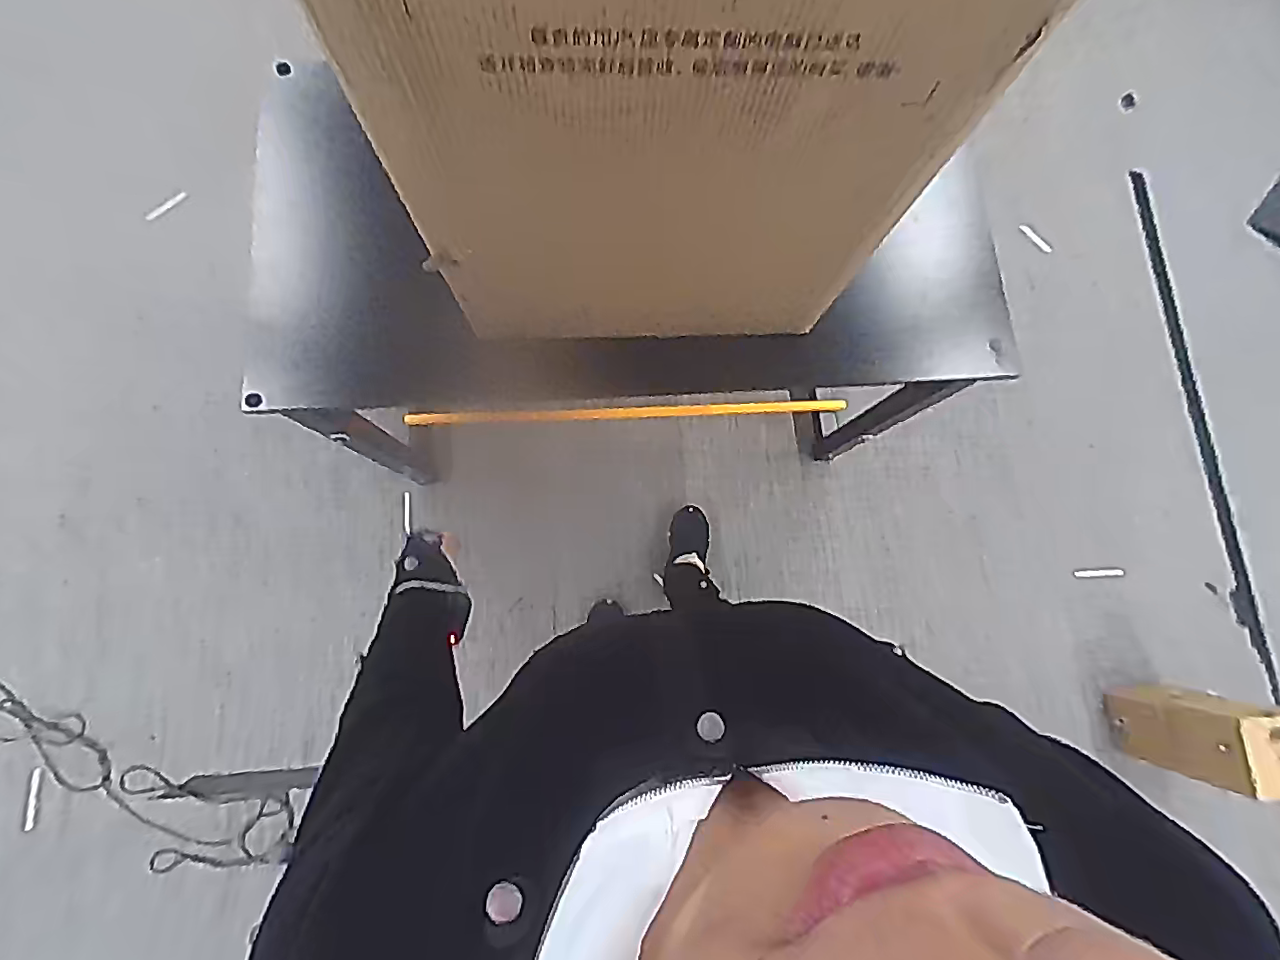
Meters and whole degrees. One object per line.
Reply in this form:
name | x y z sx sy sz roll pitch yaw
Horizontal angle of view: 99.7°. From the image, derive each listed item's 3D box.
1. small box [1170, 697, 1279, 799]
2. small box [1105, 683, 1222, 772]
small box | 1.421 0.622 1.279 0.168 0.176 0.179 -4 80 -4
small box | 1.410 0.651 1.441 0.179 0.176 0.168 -8 80 -4
